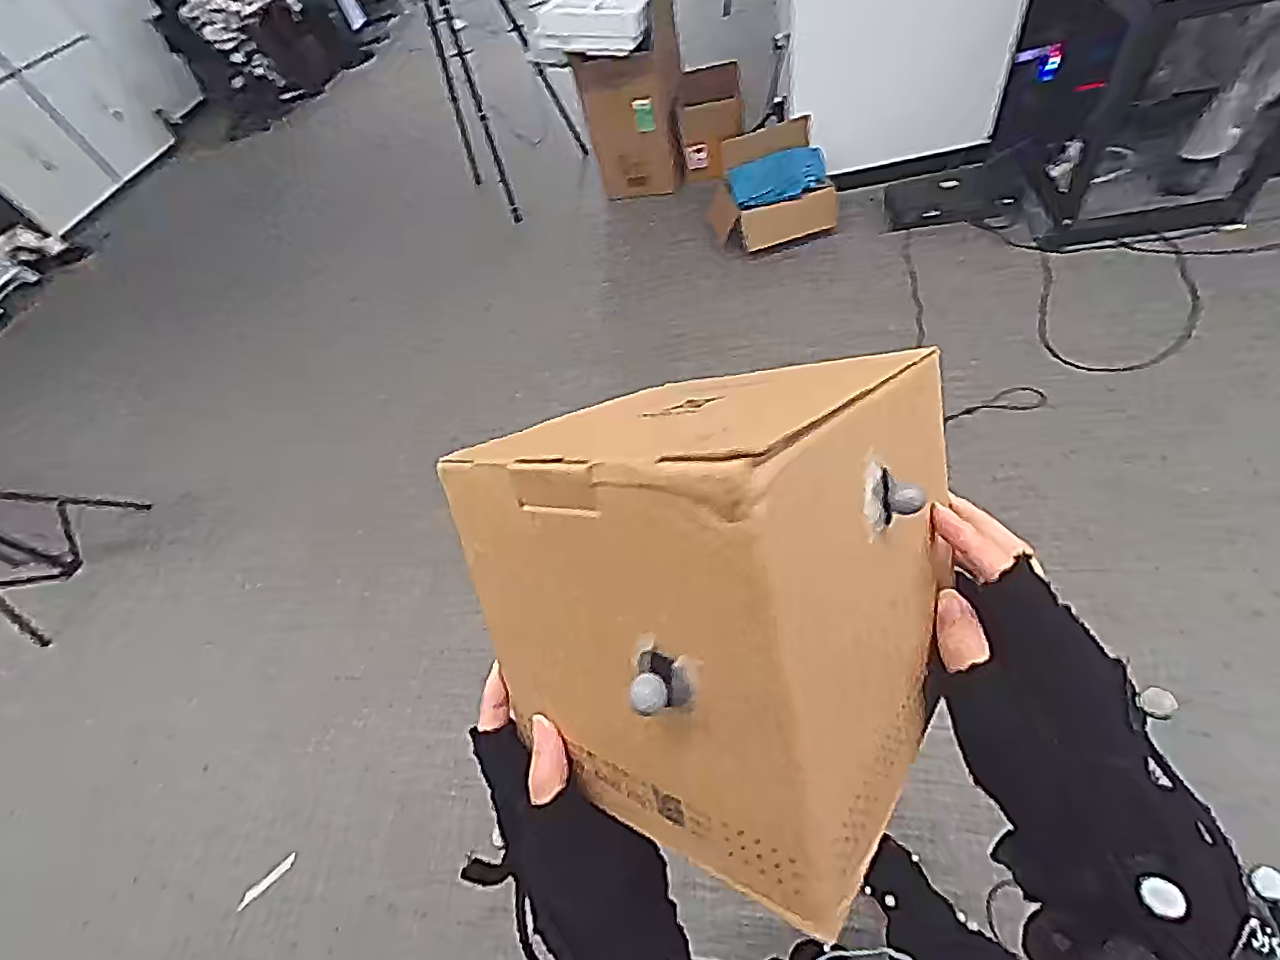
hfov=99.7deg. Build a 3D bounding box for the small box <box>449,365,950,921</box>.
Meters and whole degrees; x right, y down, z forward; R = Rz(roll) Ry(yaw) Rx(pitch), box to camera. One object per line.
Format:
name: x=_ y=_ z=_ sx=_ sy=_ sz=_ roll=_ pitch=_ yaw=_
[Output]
small box: x=0.043 y=0.051 z=0.269 sx=0.168 sy=0.176 sz=0.179 roll=1 pitch=18 yaw=42
